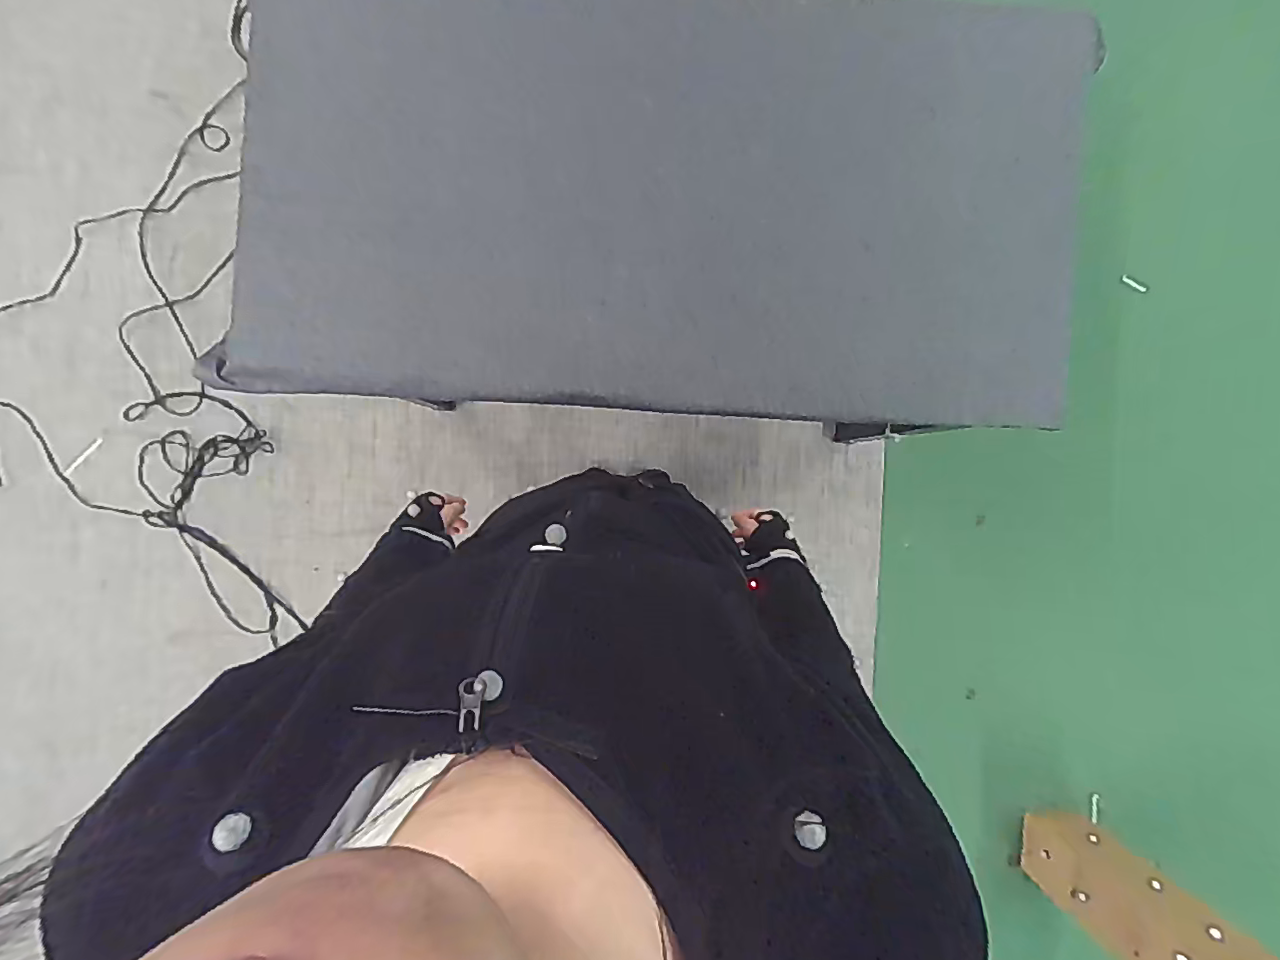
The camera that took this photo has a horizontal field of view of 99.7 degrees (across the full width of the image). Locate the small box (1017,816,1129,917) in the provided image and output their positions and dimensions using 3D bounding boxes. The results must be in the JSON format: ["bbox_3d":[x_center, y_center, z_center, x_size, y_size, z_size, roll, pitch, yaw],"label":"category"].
[{"bbox_3d":[1.164,1.042,1.466,0.179,0.176,0.168,3,90,-2],"label":"small box"}]

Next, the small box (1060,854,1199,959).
[{"bbox_3d":[1.170,1.040,1.301,0.179,0.176,0.168,6,90,-2],"label":"small box"}]
